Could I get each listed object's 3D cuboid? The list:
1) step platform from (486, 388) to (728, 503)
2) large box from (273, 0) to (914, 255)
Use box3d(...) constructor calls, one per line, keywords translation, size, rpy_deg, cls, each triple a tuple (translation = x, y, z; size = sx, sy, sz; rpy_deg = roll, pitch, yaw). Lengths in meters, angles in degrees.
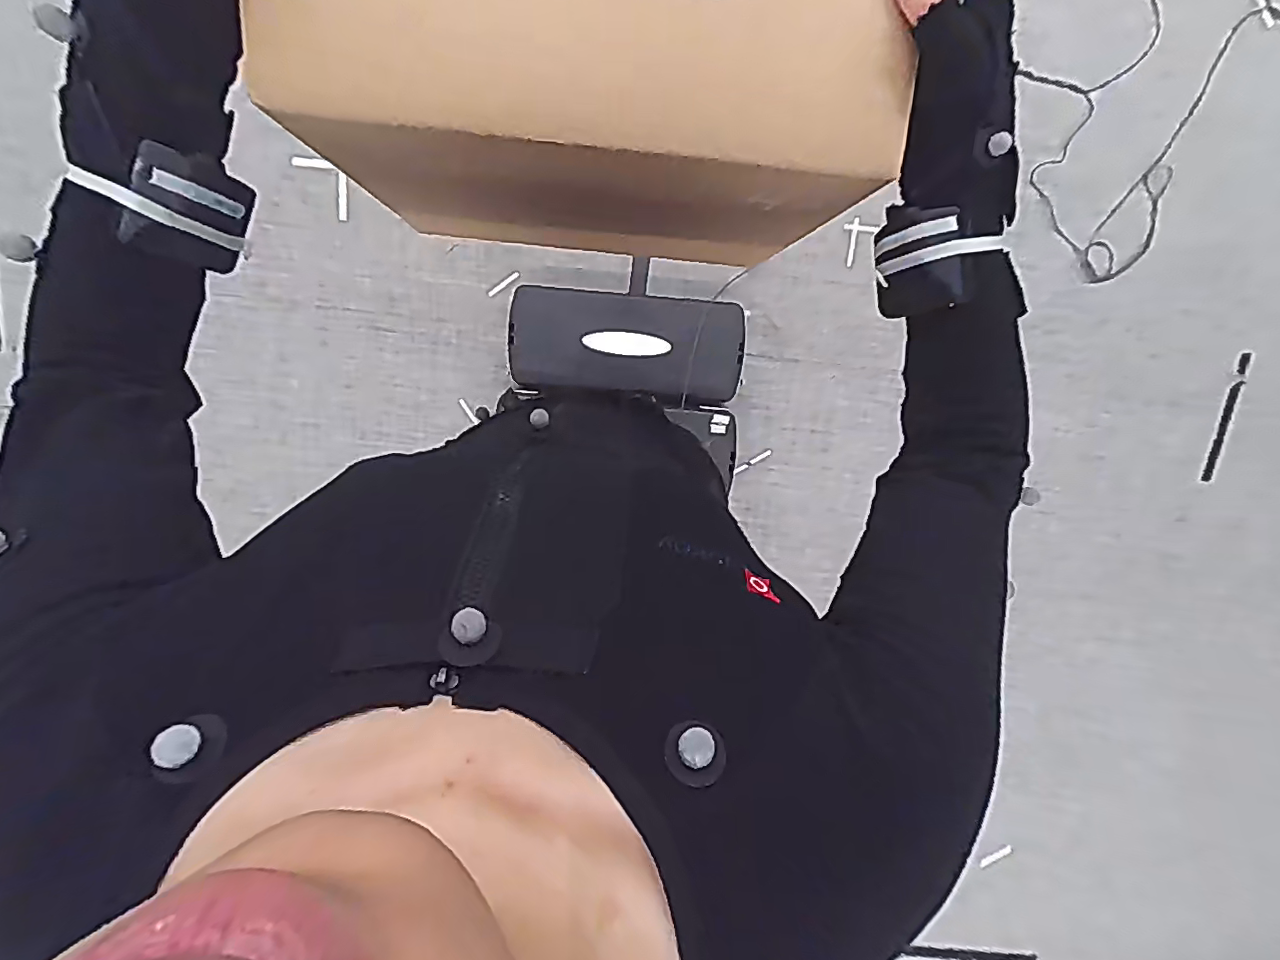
box3d(translation=(-0.090, -0.100, 1.563), size=(0.684, 0.204, 0.286), rpy_deg=(4, 99, 0), cls="step platform")
box3d(translation=(-0.030, -0.399, 0.467), size=(0.408, 0.320, 0.320), rpy_deg=(2, 102, -6), cls="large box")
